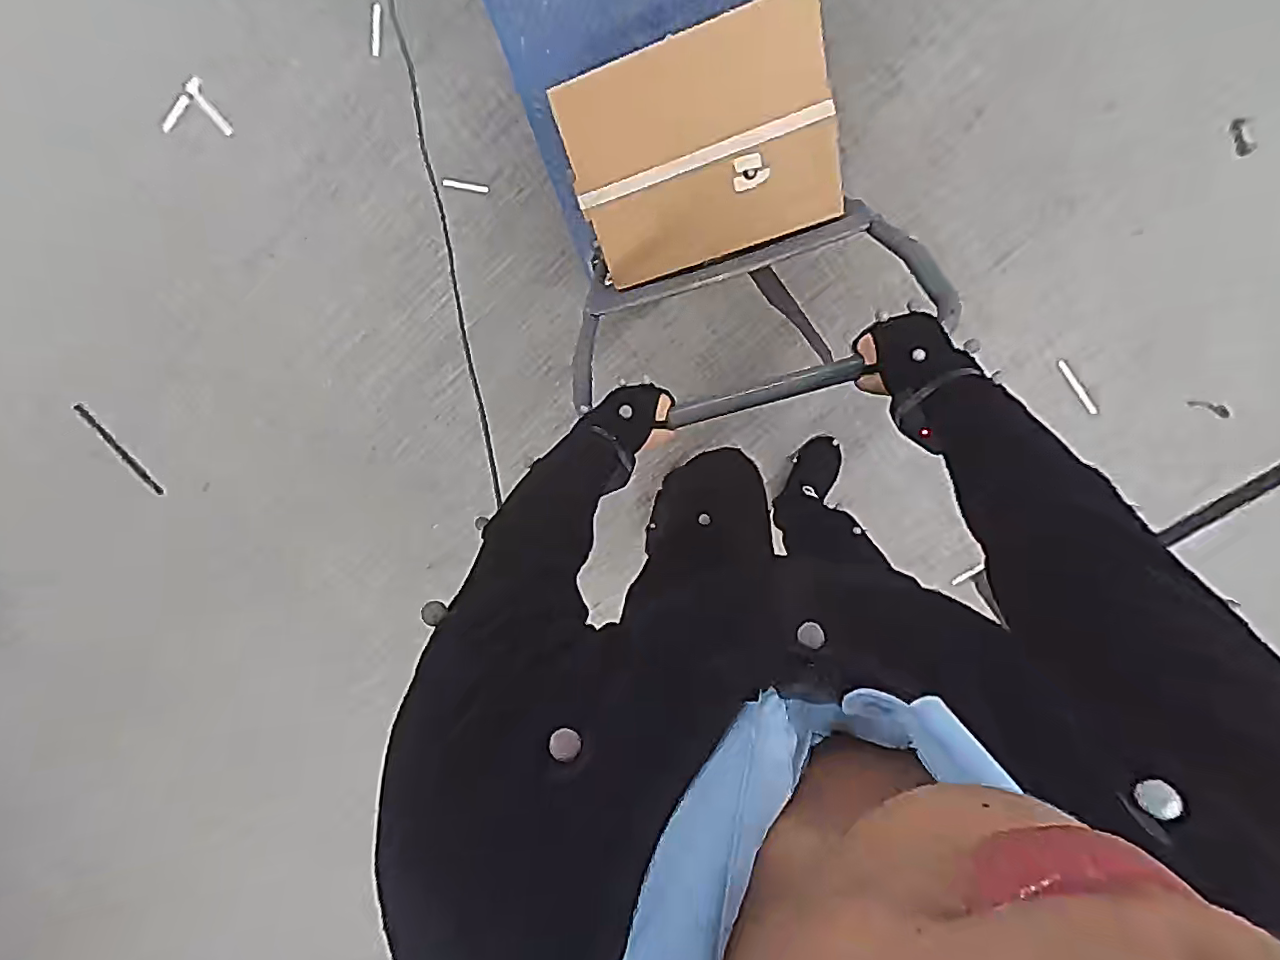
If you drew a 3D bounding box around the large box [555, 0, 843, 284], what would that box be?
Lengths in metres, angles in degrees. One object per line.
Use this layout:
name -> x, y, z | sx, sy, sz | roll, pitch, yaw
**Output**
large box -> 0.106, -0.608, 0.989 | 0.408, 0.320, 0.320 | -16, 123, 12
